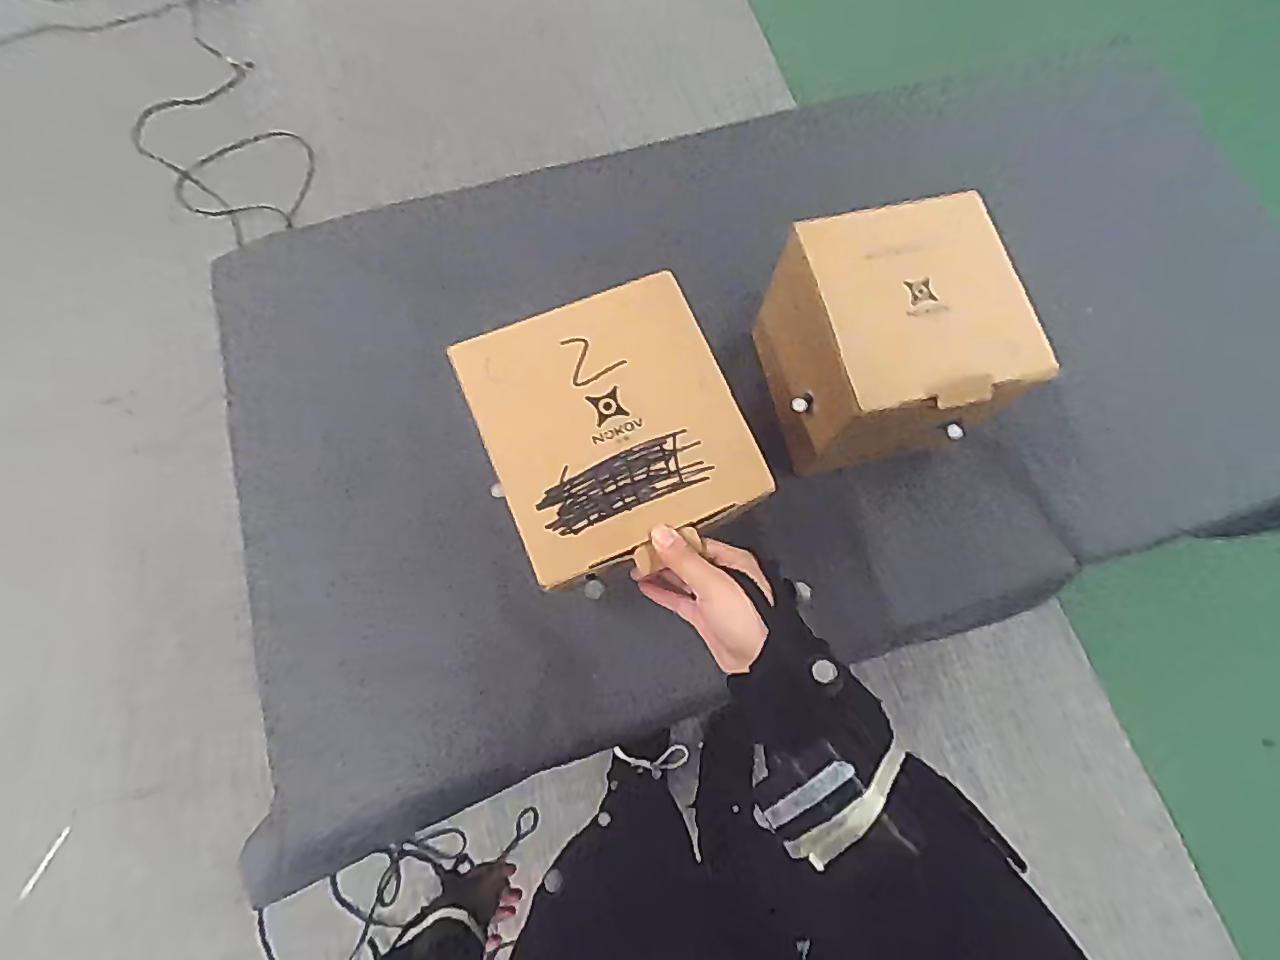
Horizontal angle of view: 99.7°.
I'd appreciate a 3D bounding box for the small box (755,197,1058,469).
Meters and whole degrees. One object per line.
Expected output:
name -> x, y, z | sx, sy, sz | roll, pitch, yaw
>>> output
small box -> 0.223, -0.120, 0.507 | 0.168, 0.176, 0.179 | -13, 73, -5
